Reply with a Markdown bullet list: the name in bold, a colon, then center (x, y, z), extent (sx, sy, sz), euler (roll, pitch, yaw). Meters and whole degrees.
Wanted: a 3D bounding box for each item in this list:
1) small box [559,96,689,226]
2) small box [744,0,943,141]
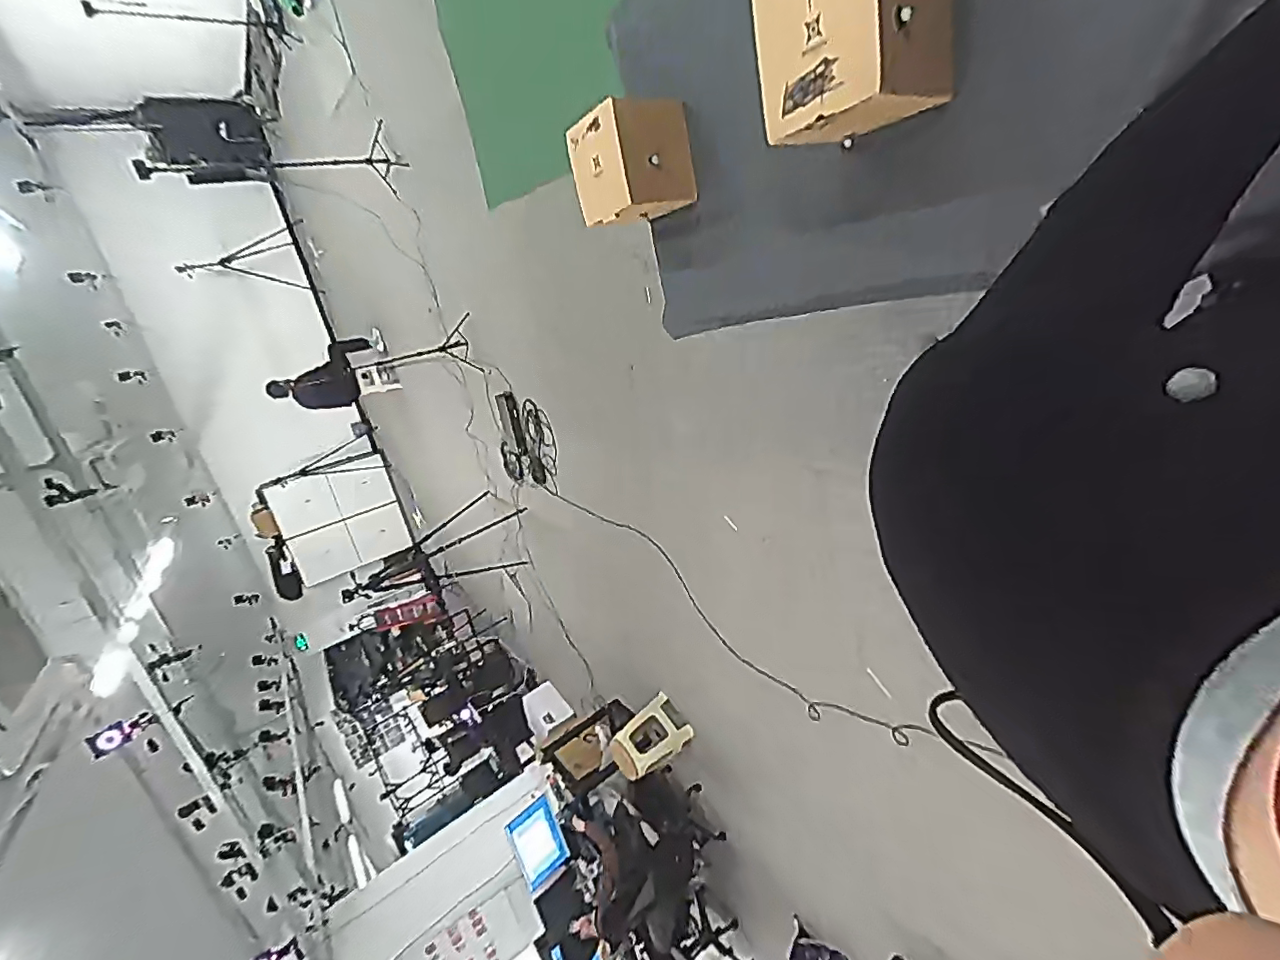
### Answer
- **small box**: center (-0.026, -0.615, 1.048), extent (0.168, 0.176, 0.179), euler (11, 121, 52)
- **small box**: center (0.255, -0.550, 0.672), extent (0.168, 0.176, 0.179), euler (14, 122, 52)
